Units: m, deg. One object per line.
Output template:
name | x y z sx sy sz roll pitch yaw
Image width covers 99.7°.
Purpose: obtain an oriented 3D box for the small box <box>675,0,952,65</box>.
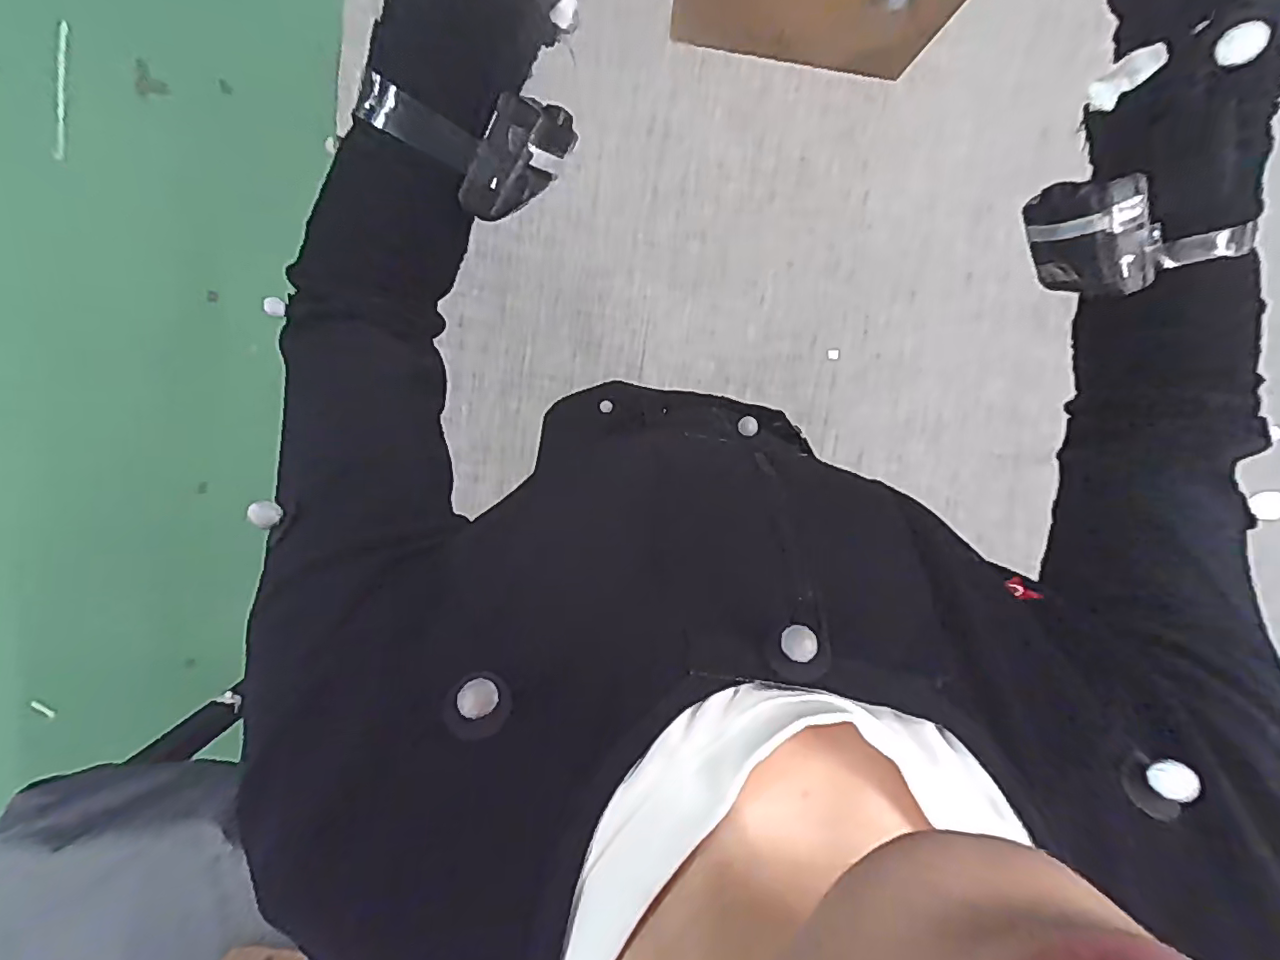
small box | 0.123 -0.382 0.310 0.179 0.176 0.168 6 97 -3
